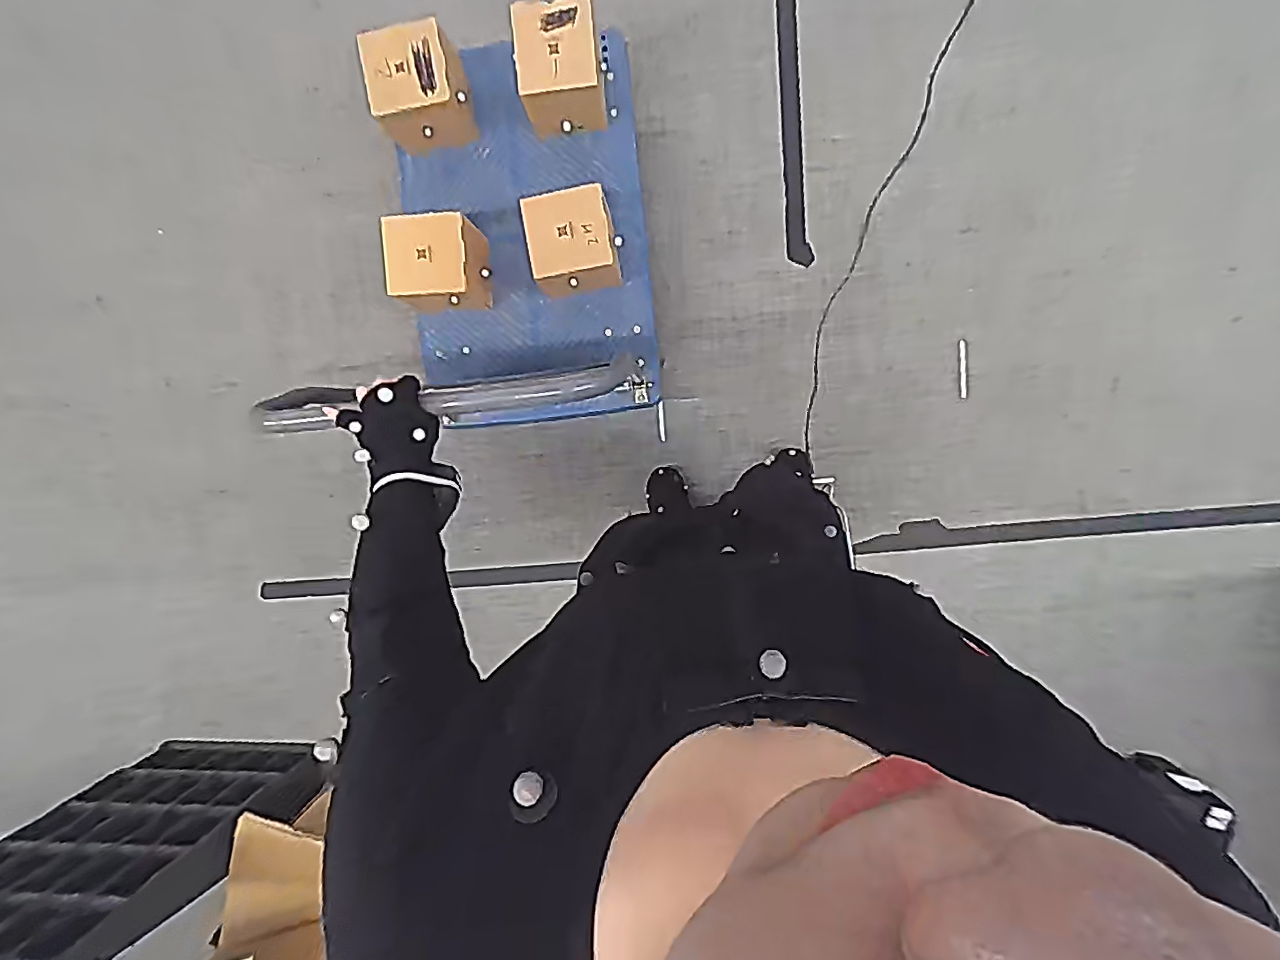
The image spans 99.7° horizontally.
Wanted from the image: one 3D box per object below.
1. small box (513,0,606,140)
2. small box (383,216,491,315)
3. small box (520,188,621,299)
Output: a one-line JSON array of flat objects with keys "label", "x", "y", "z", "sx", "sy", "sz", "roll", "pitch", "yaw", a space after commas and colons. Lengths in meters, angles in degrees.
[{"label": "small box", "x": -0.168, "y": -0.878, "z": 1.173, "sx": 0.168, "sy": 0.176, "sz": 0.179, "roll": -4, "pitch": 96, "yaw": 4}, {"label": "small box", "x": -0.453, "y": -0.477, "z": 1.226, "sx": 0.179, "sy": 0.176, "sz": 0.168, "roll": -3, "pitch": 94, "yaw": 2}, {"label": "small box", "x": -0.147, "y": -0.515, "z": 1.202, "sx": 0.179, "sy": 0.176, "sz": 0.168, "roll": -9, "pitch": 94, "yaw": 5}]
